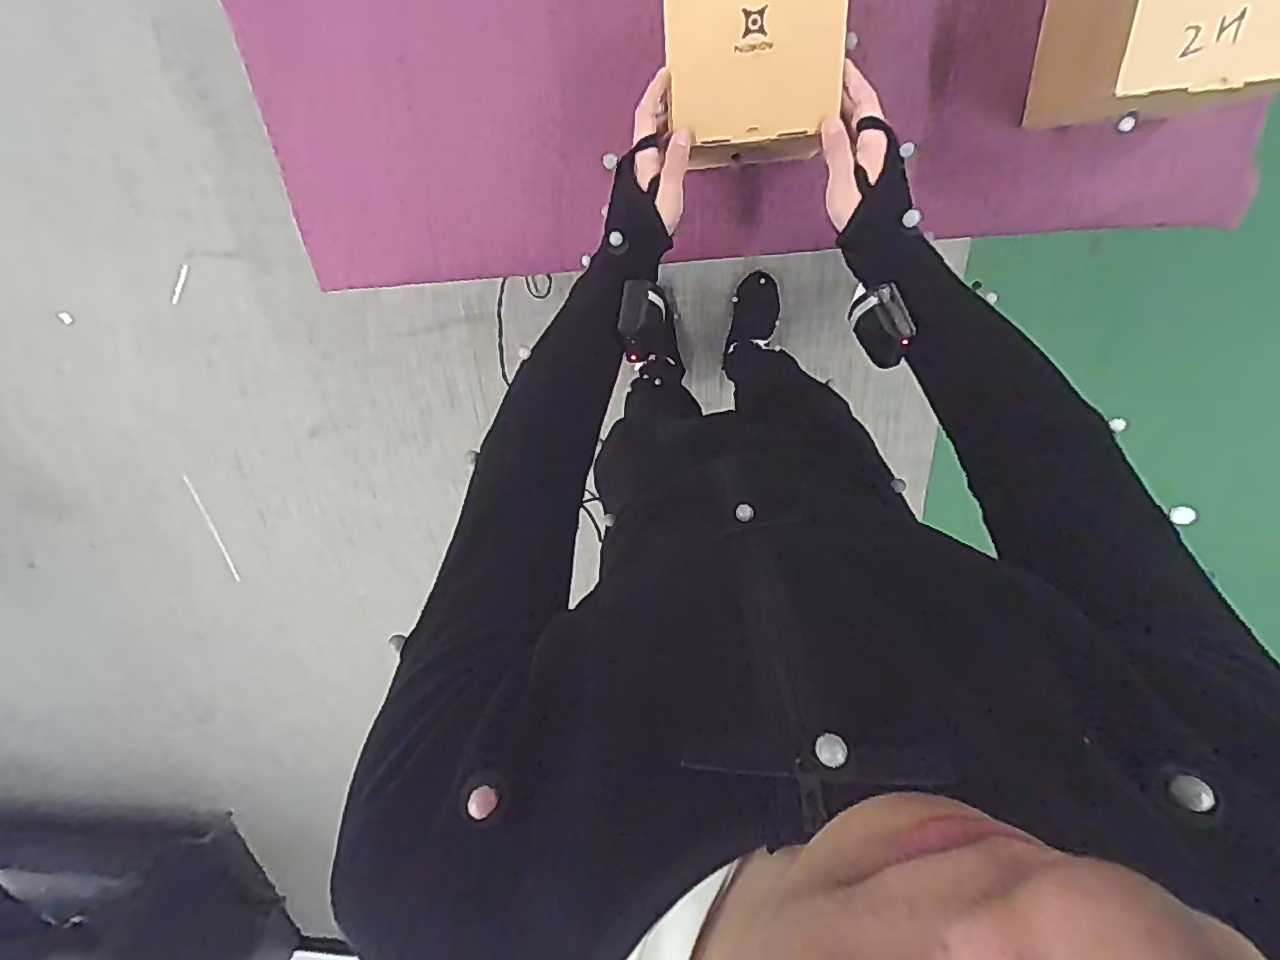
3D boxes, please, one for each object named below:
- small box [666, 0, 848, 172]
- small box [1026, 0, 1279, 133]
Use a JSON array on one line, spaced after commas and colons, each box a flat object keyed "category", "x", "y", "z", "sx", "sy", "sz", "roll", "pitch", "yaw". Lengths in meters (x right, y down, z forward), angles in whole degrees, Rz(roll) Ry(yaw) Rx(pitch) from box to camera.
[{"category": "small box", "x": 0.114, "y": -0.440, "z": 0.570, "sx": 0.168, "sy": 0.176, "sz": 0.179, "roll": -1, "pitch": 114, "yaw": 8}, {"category": "small box", "x": 0.510, "y": -0.453, "z": 0.516, "sx": 0.168, "sy": 0.176, "sz": 0.179, "roll": 1, "pitch": 115, "yaw": 9}]
